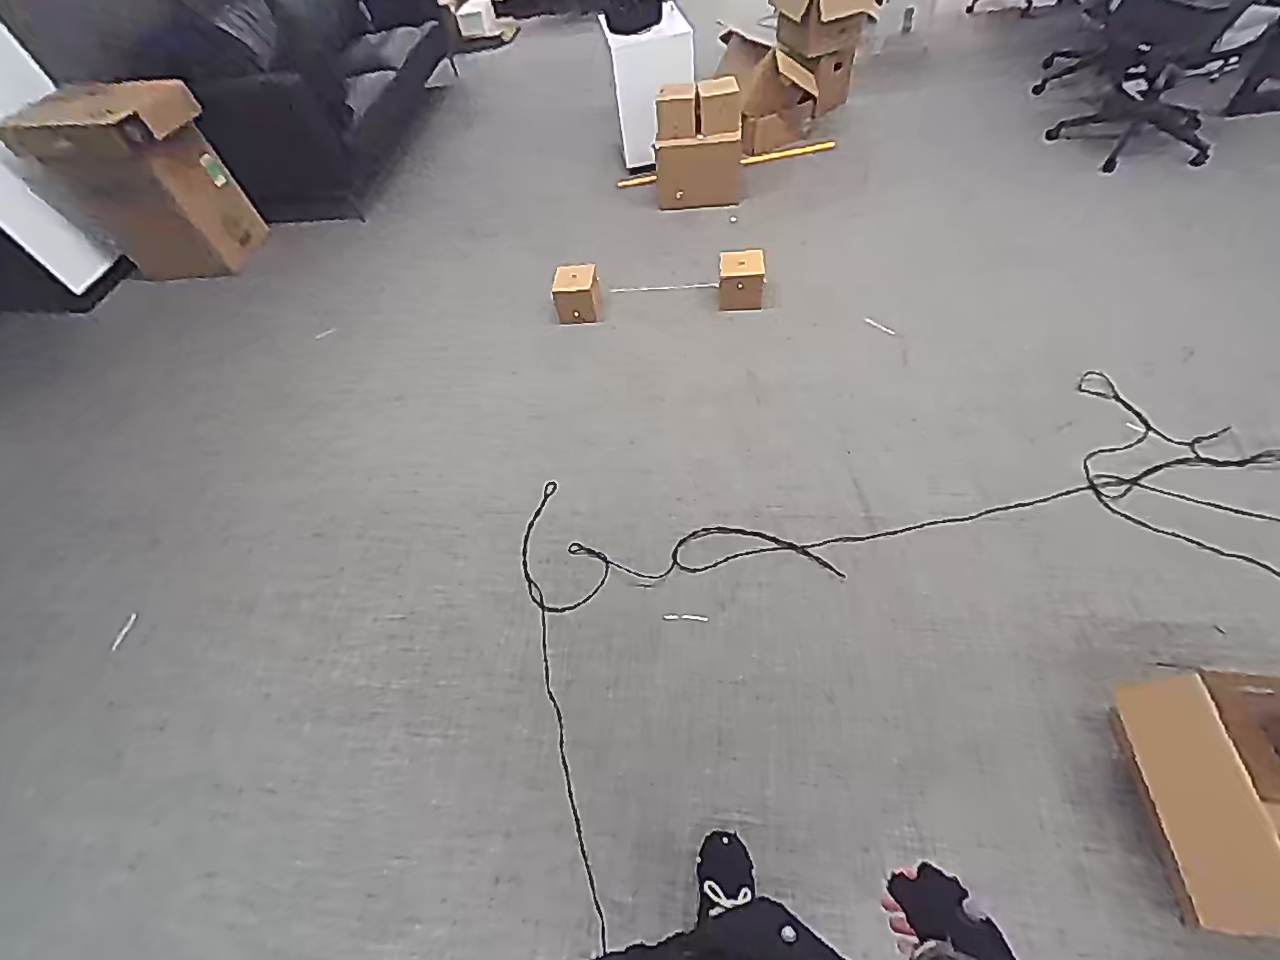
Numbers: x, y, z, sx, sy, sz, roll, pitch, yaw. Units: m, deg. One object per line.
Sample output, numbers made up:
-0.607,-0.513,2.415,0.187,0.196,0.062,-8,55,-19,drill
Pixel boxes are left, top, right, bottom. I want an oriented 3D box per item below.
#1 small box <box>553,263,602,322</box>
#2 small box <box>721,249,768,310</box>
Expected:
-0.258,-0.794,2.293,0.168,0.176,0.179,-1,55,8,small box
0.422,-0.818,2.211,0.179,0.176,0.168,-1,55,8,small box
